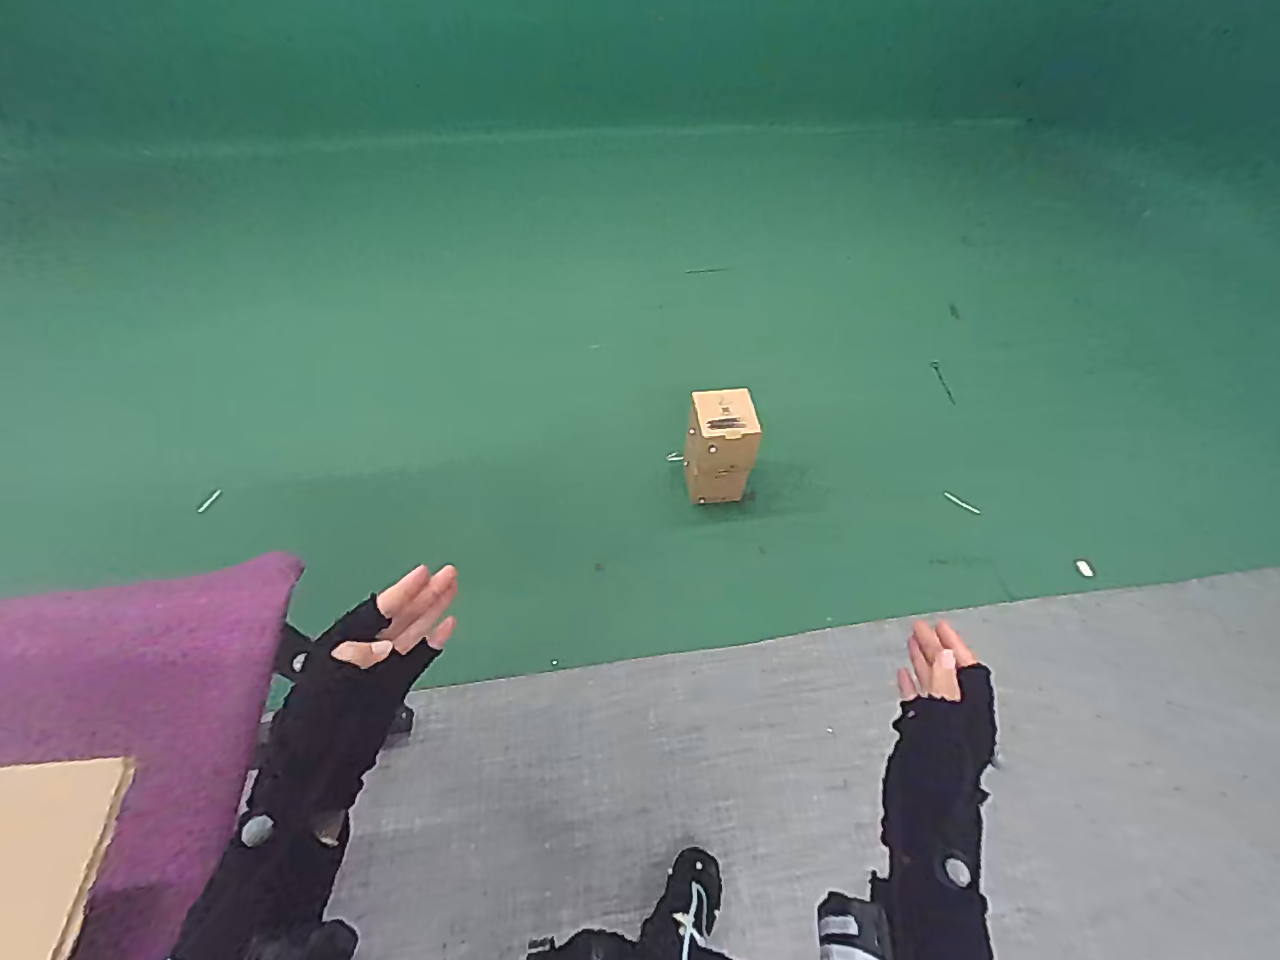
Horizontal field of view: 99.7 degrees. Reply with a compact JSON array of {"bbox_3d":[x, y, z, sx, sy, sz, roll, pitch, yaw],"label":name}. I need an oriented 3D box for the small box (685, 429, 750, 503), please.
[{"bbox_3d":[0.240,-0.037,1.719,0.168,0.176,0.179,-4,54,-5],"label":"small box"}]
